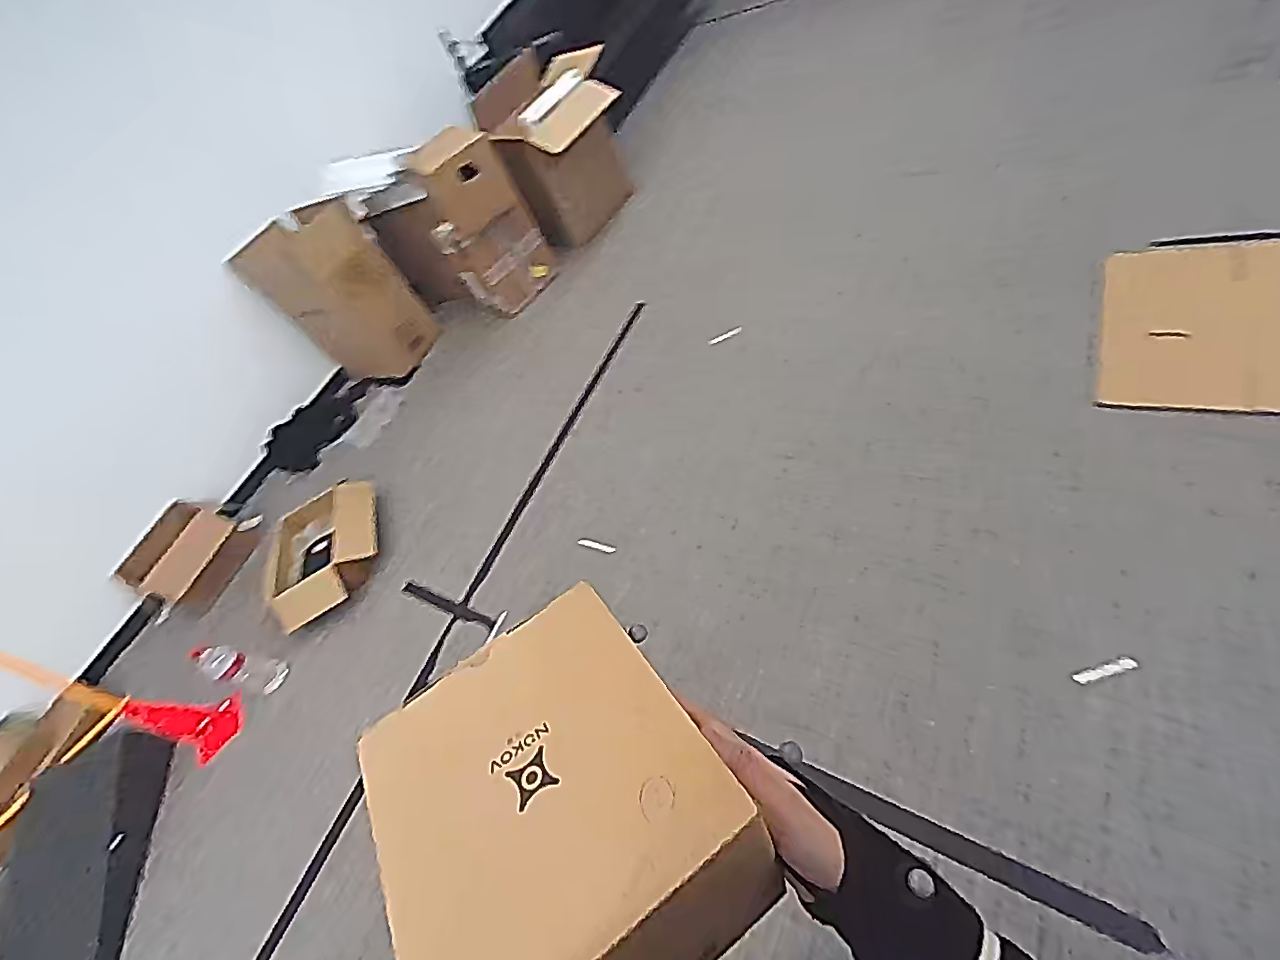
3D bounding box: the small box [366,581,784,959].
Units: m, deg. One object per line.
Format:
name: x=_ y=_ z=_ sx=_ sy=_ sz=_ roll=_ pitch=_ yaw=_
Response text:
small box: x=-0.032 y=0.205 z=0.332 sx=0.168 sy=0.176 sz=0.179 roll=-33 pitch=42 yaw=-14
